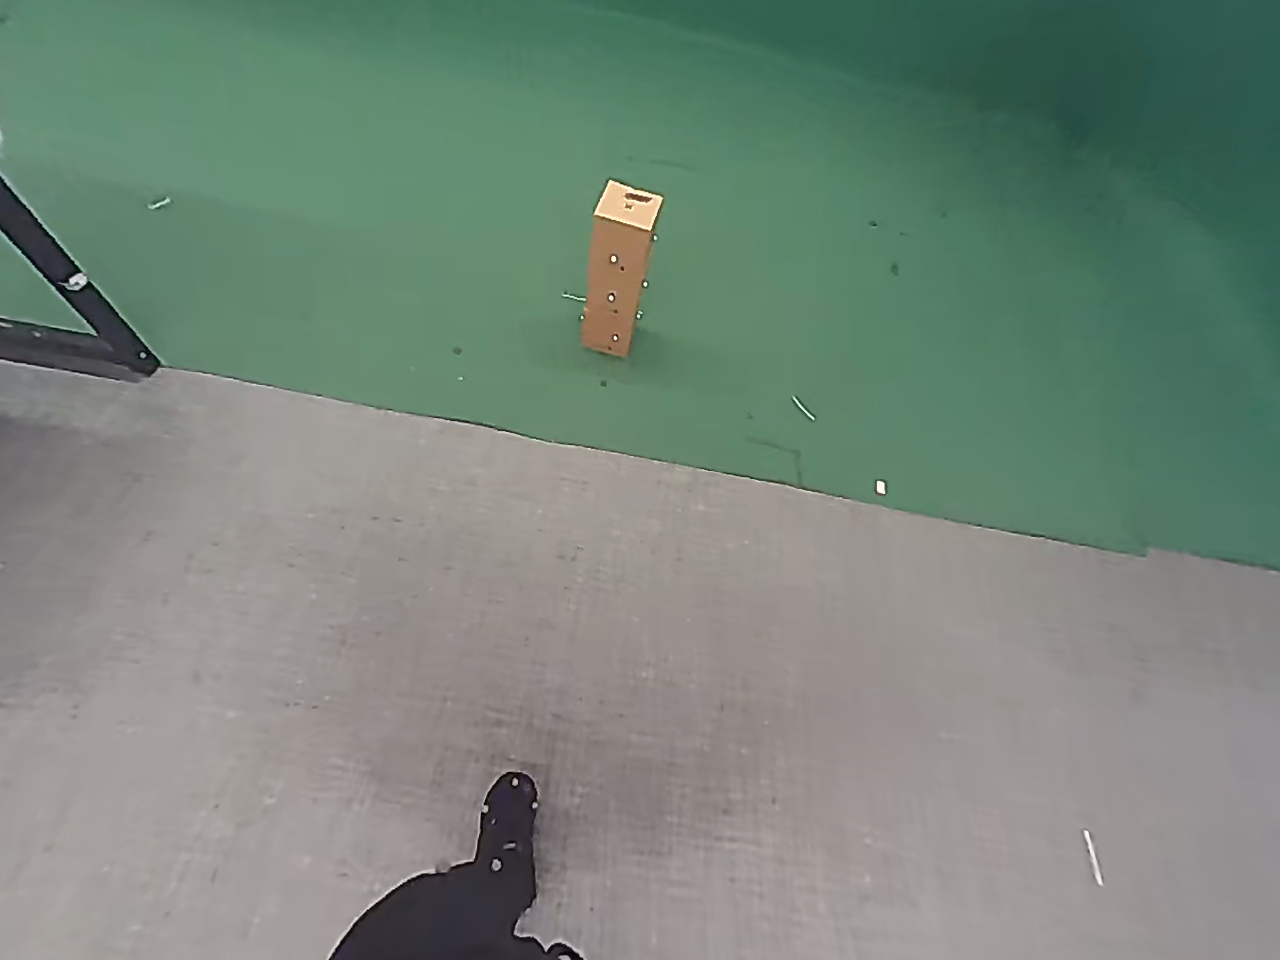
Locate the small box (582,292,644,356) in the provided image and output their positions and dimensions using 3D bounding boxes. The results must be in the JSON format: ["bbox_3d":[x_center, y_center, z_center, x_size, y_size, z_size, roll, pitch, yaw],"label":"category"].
[{"bbox_3d":[-0.097,-0.558,1.857,0.168,0.176,0.179,17,57,-2],"label":"small box"}]

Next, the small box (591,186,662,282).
[{"bbox_3d":[-0.044,-0.725,1.601,0.168,0.176,0.179,16,58,-1],"label":"small box"}]

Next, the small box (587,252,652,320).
[{"bbox_3d":[-0.069,-0.640,1.740,0.168,0.176,0.179,16,58,-2],"label":"small box"}]
